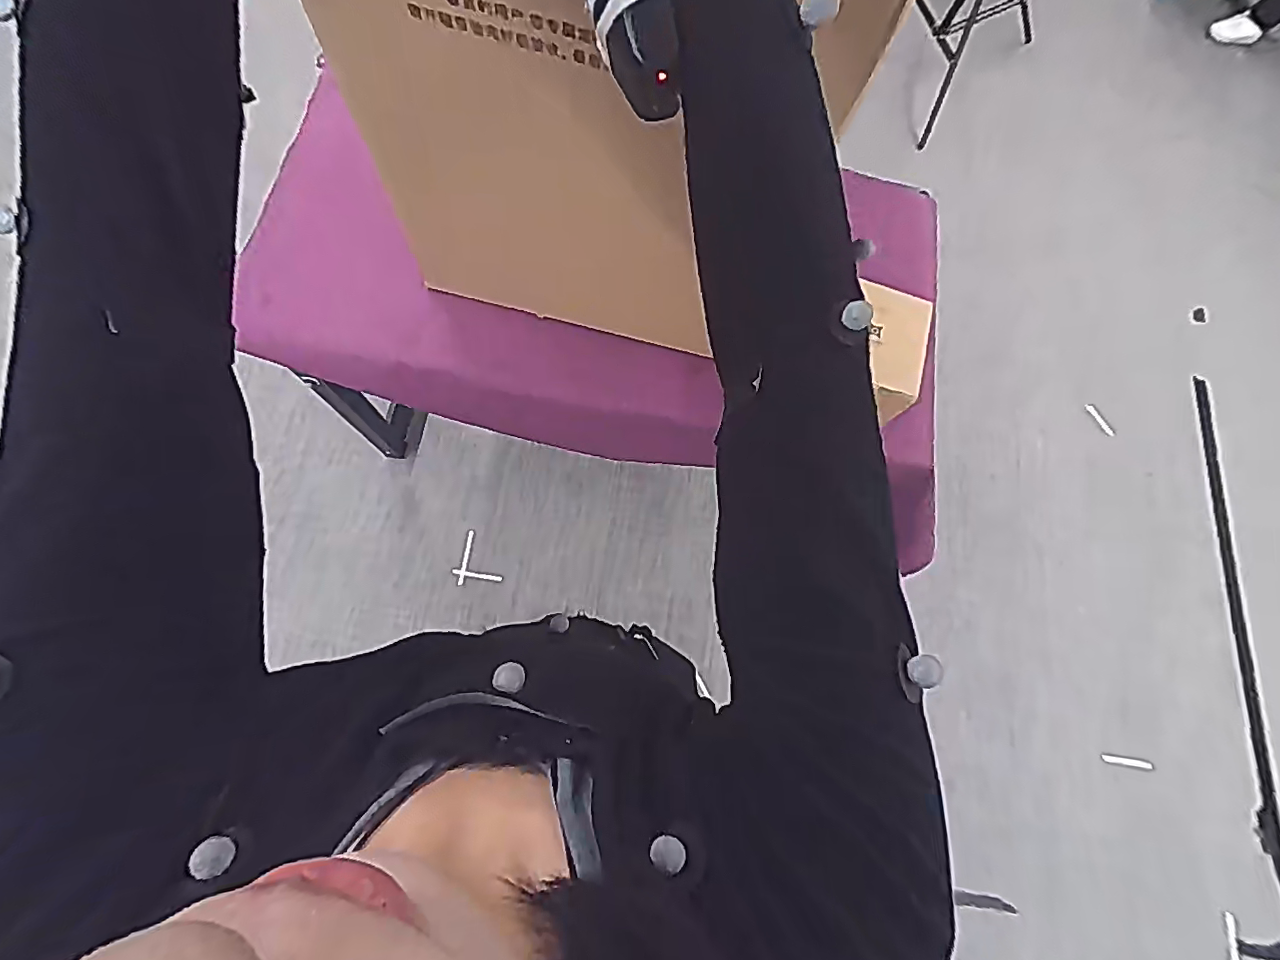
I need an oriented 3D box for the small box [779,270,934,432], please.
[{"bbox_3d":[0.343,-0.199,0.884,0.168,0.176,0.179,18,72,-2],"label":"small box"}]
